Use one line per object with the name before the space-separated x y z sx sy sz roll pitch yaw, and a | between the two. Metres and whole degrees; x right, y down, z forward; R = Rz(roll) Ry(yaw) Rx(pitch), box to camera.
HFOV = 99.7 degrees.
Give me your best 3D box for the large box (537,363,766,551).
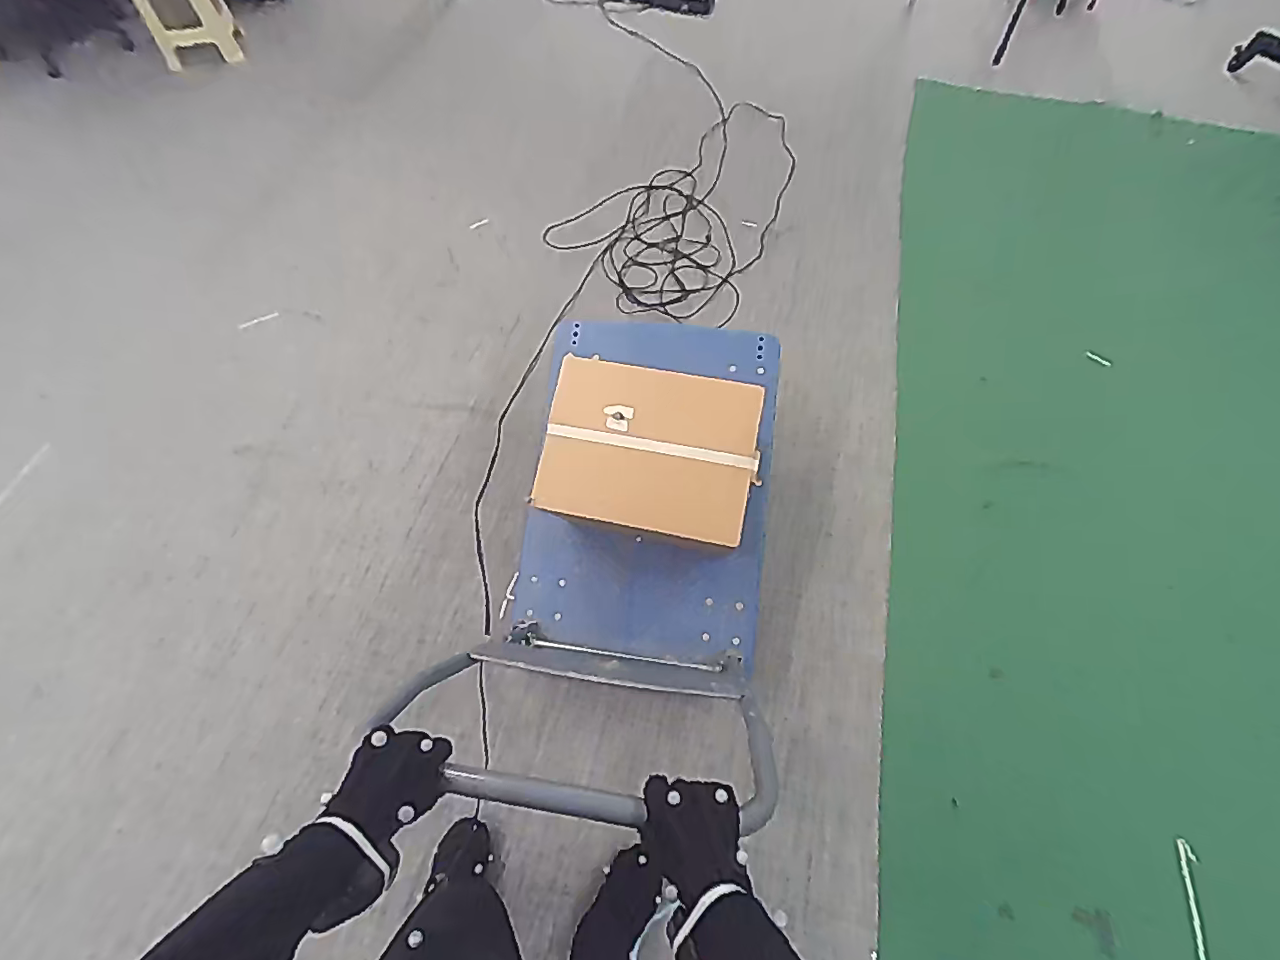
large box | 0.041 -0.032 1.174 0.408 0.320 0.320 10 81 9
